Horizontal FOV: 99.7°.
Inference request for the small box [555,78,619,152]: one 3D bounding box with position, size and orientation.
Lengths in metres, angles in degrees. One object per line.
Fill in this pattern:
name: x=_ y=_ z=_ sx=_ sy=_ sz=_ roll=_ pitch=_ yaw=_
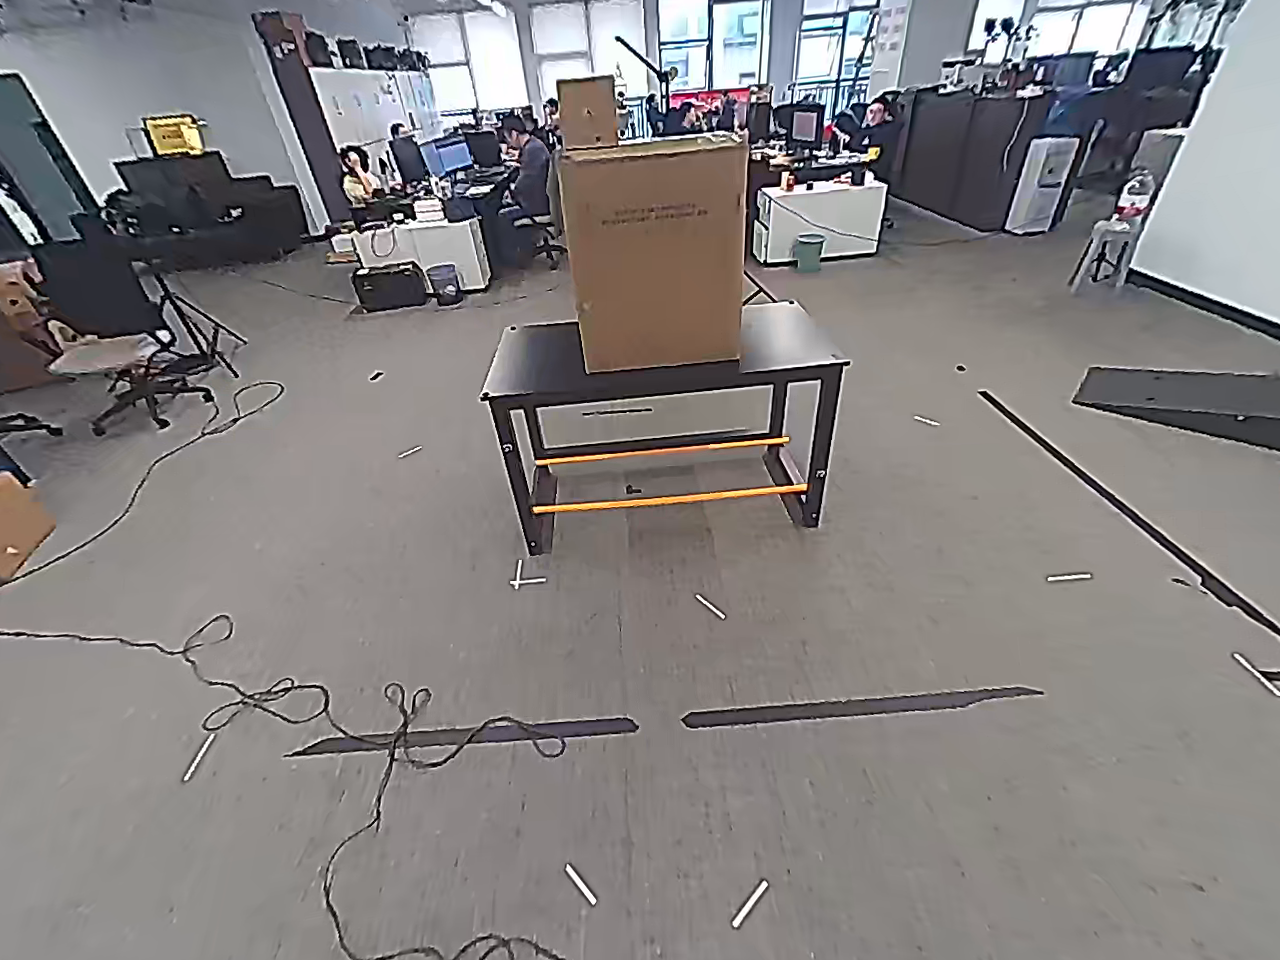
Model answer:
small box: x=-0.151 y=-1.075 z=1.598 sx=0.168 sy=0.176 sz=0.179 roll=-5 pitch=36 yaw=-1
